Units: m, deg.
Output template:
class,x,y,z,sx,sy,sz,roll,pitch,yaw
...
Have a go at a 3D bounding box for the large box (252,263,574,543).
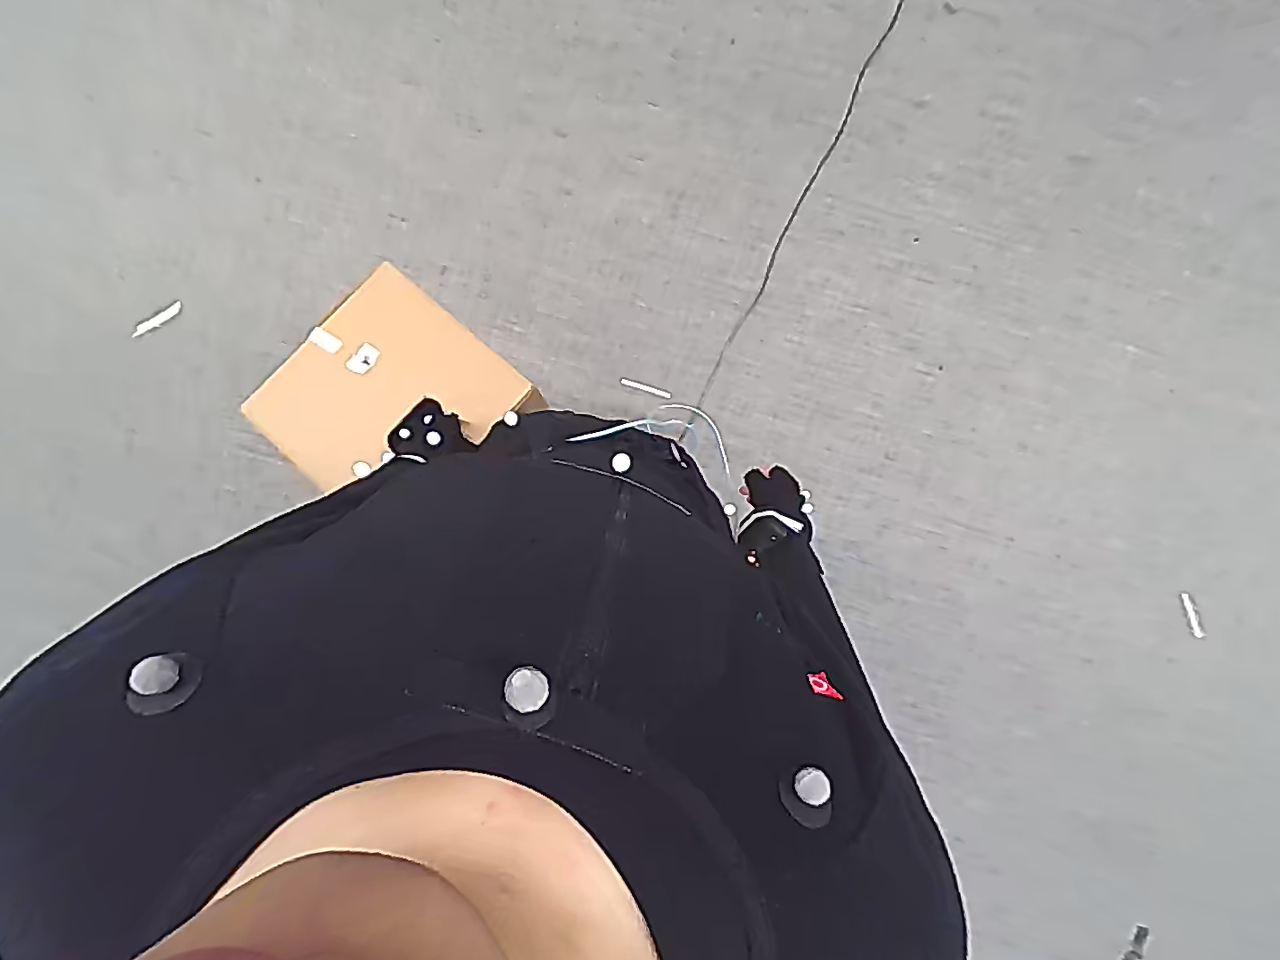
class,x,y,z,sx,sy,sz,roll,pitch,yaw
large box,-0.364,-0.103,0.986,0.320,0.408,0.320,43,85,7
